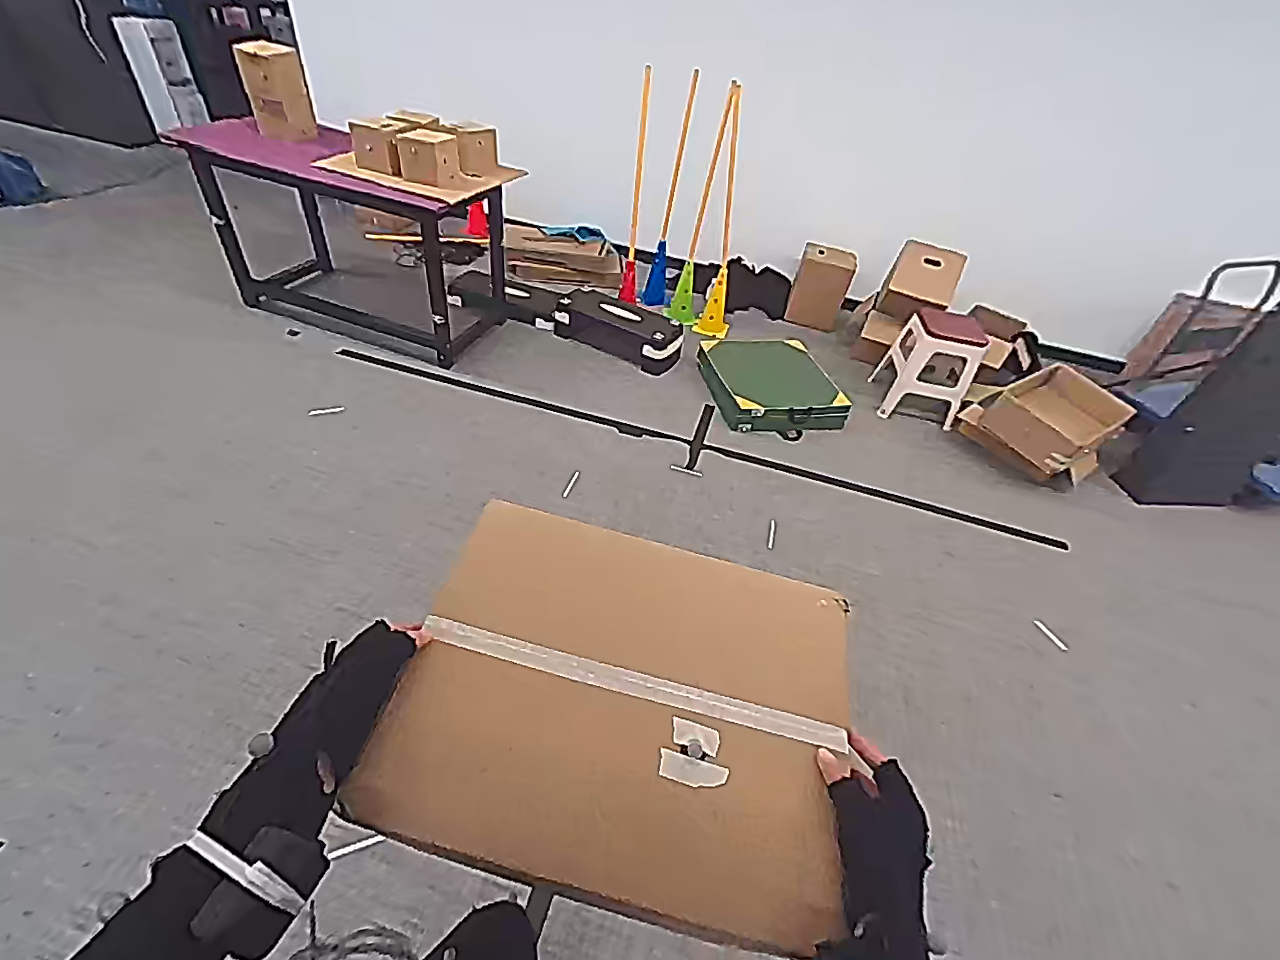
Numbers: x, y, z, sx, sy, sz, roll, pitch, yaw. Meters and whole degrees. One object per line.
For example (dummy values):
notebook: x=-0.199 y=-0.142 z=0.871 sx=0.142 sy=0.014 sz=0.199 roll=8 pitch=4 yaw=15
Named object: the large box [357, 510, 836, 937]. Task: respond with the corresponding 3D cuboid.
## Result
large box: x=-0.028 y=0.286 z=0.636 sx=0.408 sy=0.320 sz=0.320 roll=15 pitch=52 yaw=3
